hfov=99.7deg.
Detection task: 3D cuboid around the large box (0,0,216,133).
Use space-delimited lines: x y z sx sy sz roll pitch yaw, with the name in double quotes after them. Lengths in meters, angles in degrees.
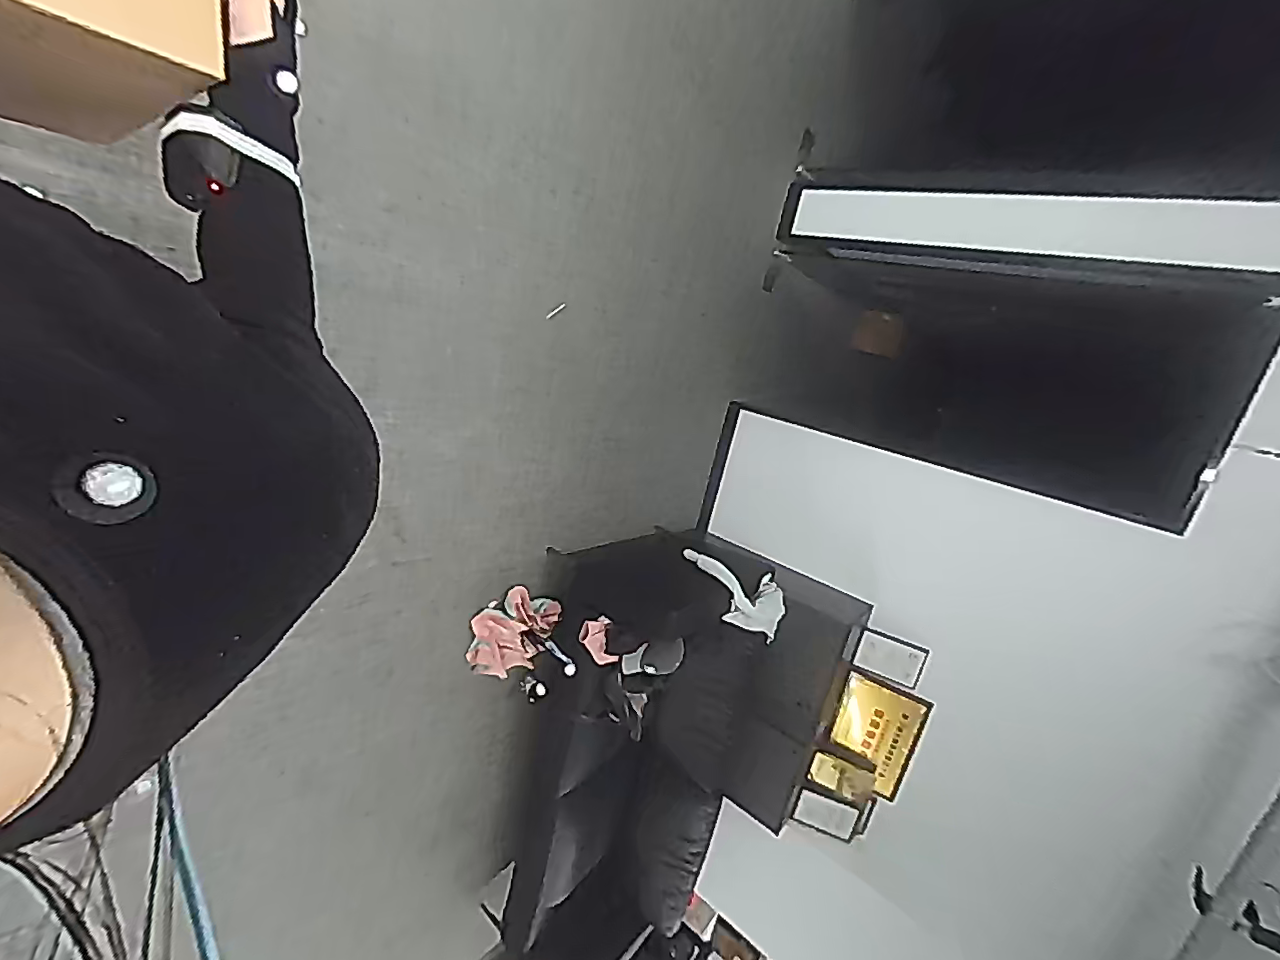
-0.560 -0.463 0.318 0.408 0.320 0.320 -14 111 -53 "large box"
